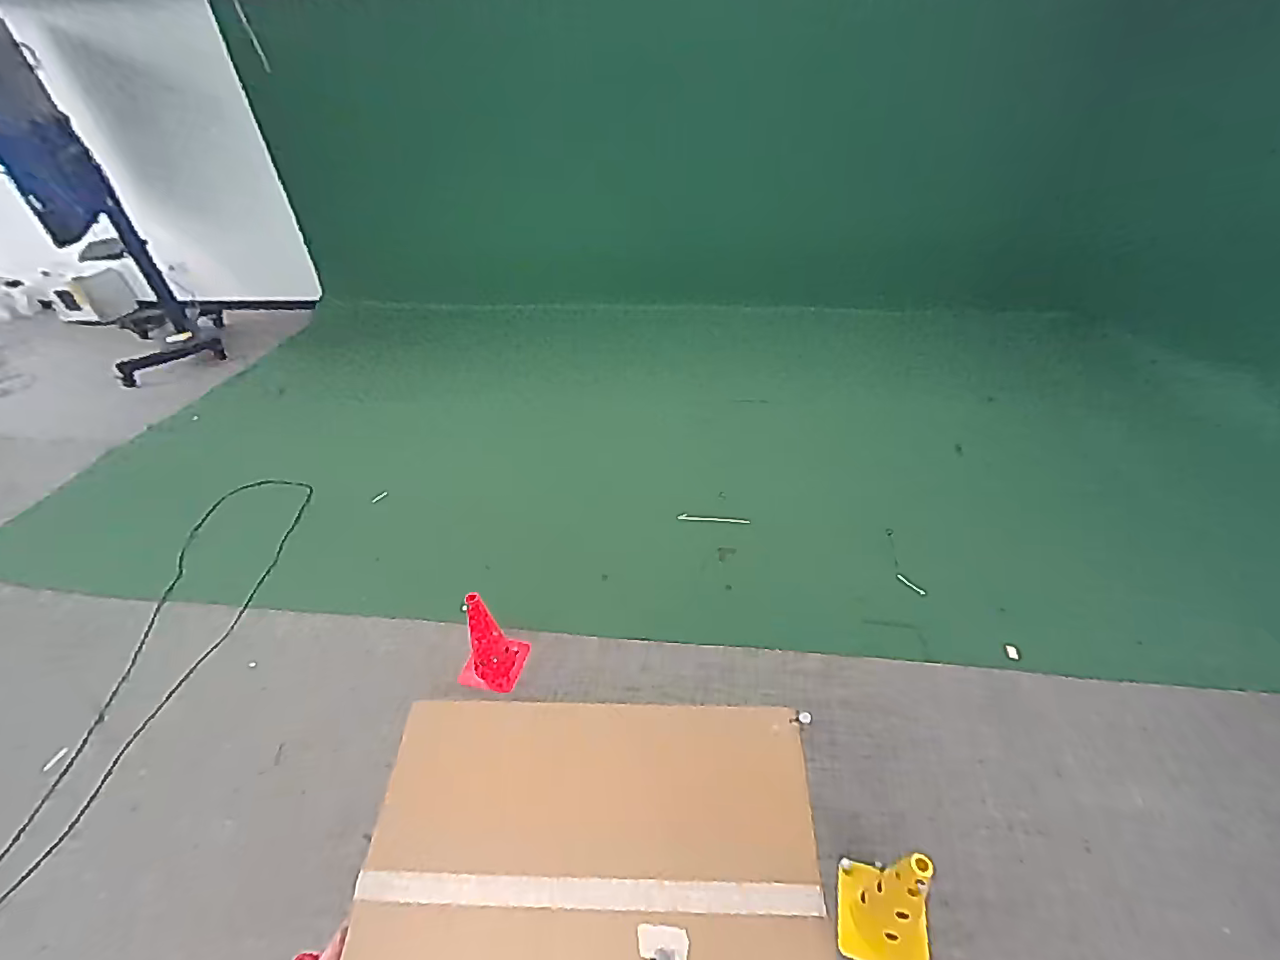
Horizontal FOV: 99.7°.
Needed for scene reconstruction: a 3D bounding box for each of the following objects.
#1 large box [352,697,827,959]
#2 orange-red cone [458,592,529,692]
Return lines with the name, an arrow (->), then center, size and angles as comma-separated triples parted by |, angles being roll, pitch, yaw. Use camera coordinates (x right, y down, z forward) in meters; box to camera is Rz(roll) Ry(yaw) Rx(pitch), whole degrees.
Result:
large box -> -0.039, 0.447, 0.599 | 0.408, 0.320, 0.320 | 0, 53, 2
orange-red cone -> -0.518, 0.500, 1.776 | 0.199, 0.360, 0.198 | 7, 38, 14
